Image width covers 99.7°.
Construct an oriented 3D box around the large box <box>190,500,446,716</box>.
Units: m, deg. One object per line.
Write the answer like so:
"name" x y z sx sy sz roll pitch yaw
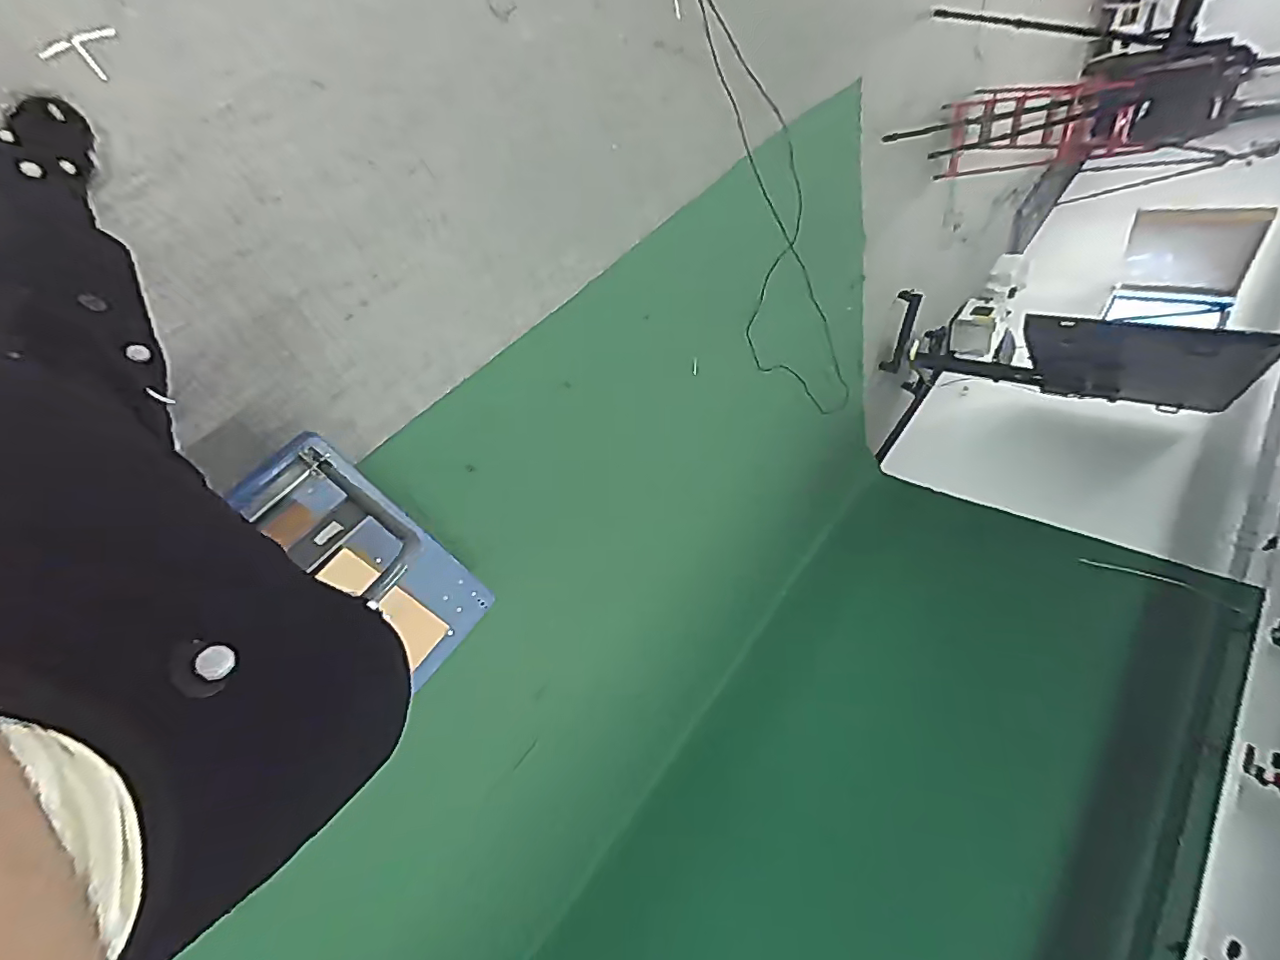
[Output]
"large box" -0.787 0.316 1.354 0.320 0.320 0.408 -50 139 -20
